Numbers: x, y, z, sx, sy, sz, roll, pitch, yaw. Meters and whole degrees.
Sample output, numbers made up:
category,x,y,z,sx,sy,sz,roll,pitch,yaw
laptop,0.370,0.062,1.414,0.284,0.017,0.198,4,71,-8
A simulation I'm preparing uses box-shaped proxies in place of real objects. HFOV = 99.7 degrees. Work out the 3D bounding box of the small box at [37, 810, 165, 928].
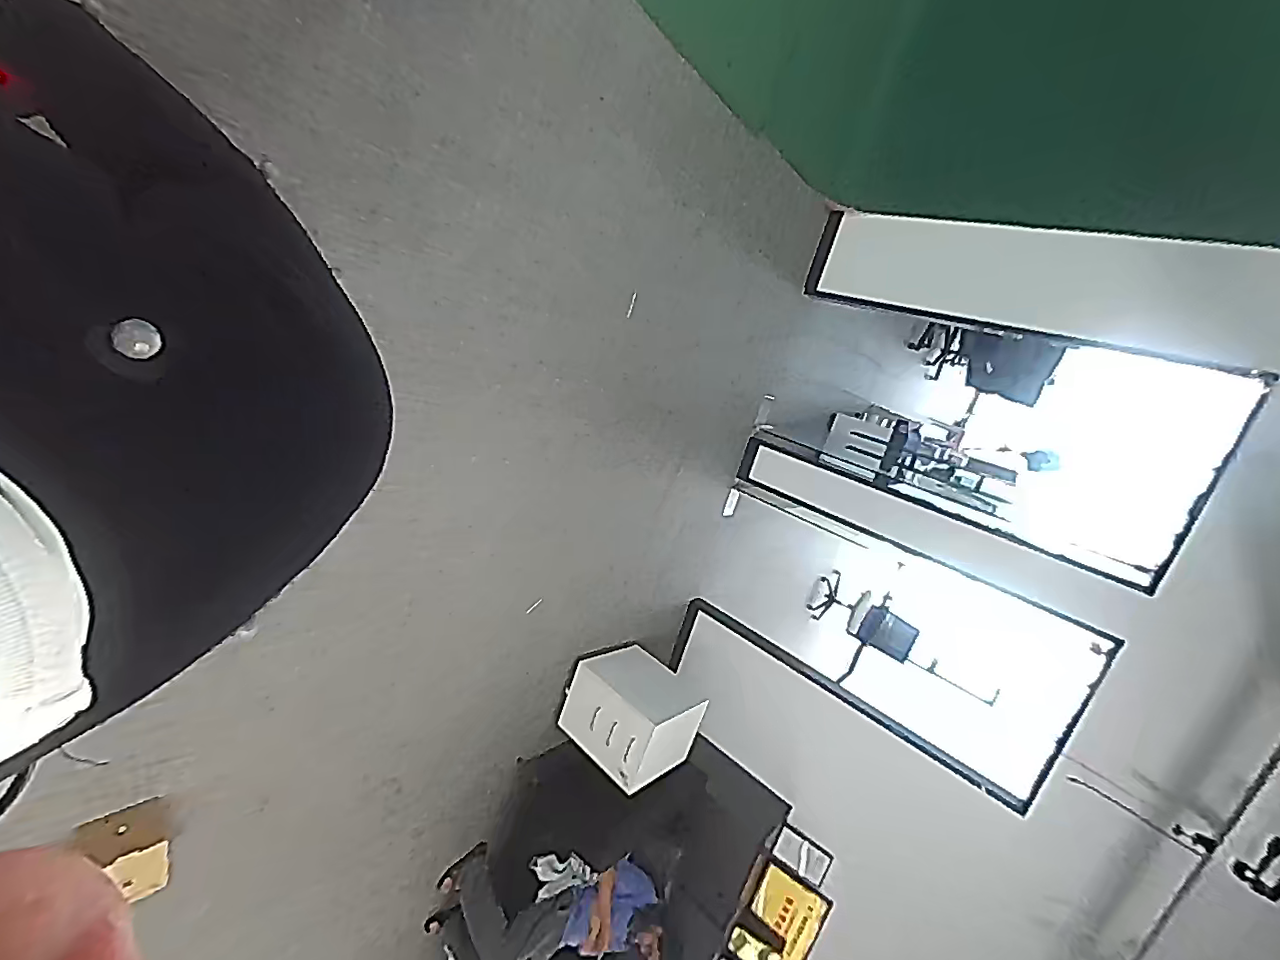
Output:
category,x,y,z,sx,sy,sz,roll,pitch,yaw
small box,-1.443,1.033,1.447,0.179,0.176,0.168,-38,141,-33
